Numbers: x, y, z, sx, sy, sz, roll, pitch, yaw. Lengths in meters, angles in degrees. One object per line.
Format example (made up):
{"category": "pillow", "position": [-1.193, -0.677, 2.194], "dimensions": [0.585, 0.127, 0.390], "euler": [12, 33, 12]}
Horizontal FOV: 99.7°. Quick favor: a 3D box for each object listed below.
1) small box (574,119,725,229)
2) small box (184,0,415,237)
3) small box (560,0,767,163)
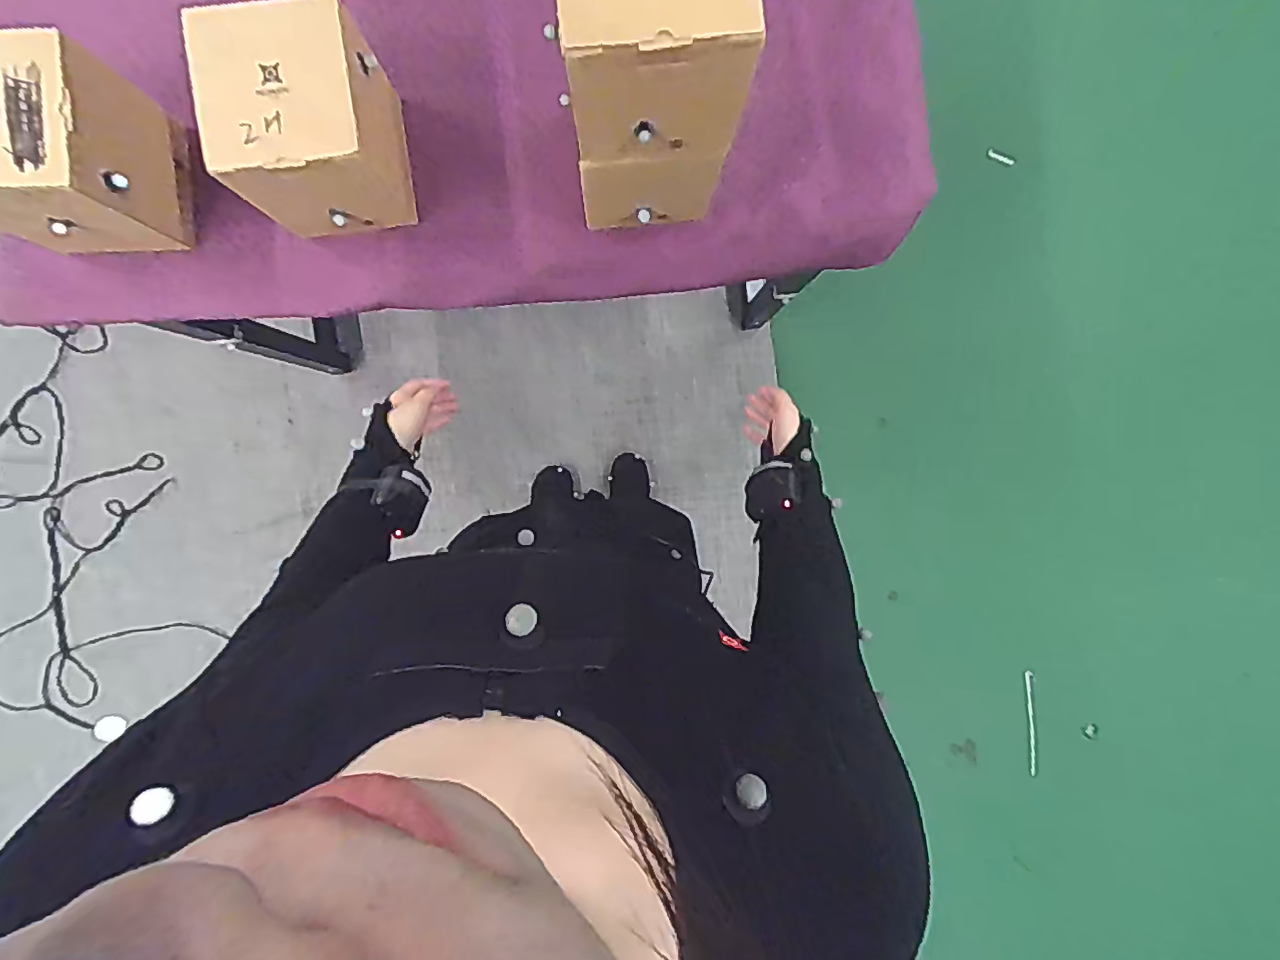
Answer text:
{"category": "small box", "position": [0.002, -0.439, 0.672], "dimensions": [0.168, 0.176, 0.179], "euler": [-6, 94, -2]}
{"category": "small box", "position": [-0.392, -0.423, 0.654], "dimensions": [0.168, 0.176, 0.179], "euler": [-8, 92, -2]}
{"category": "small box", "position": [0.010, -0.436, 0.509], "dimensions": [0.168, 0.176, 0.179], "euler": [-7, 93, -2]}
